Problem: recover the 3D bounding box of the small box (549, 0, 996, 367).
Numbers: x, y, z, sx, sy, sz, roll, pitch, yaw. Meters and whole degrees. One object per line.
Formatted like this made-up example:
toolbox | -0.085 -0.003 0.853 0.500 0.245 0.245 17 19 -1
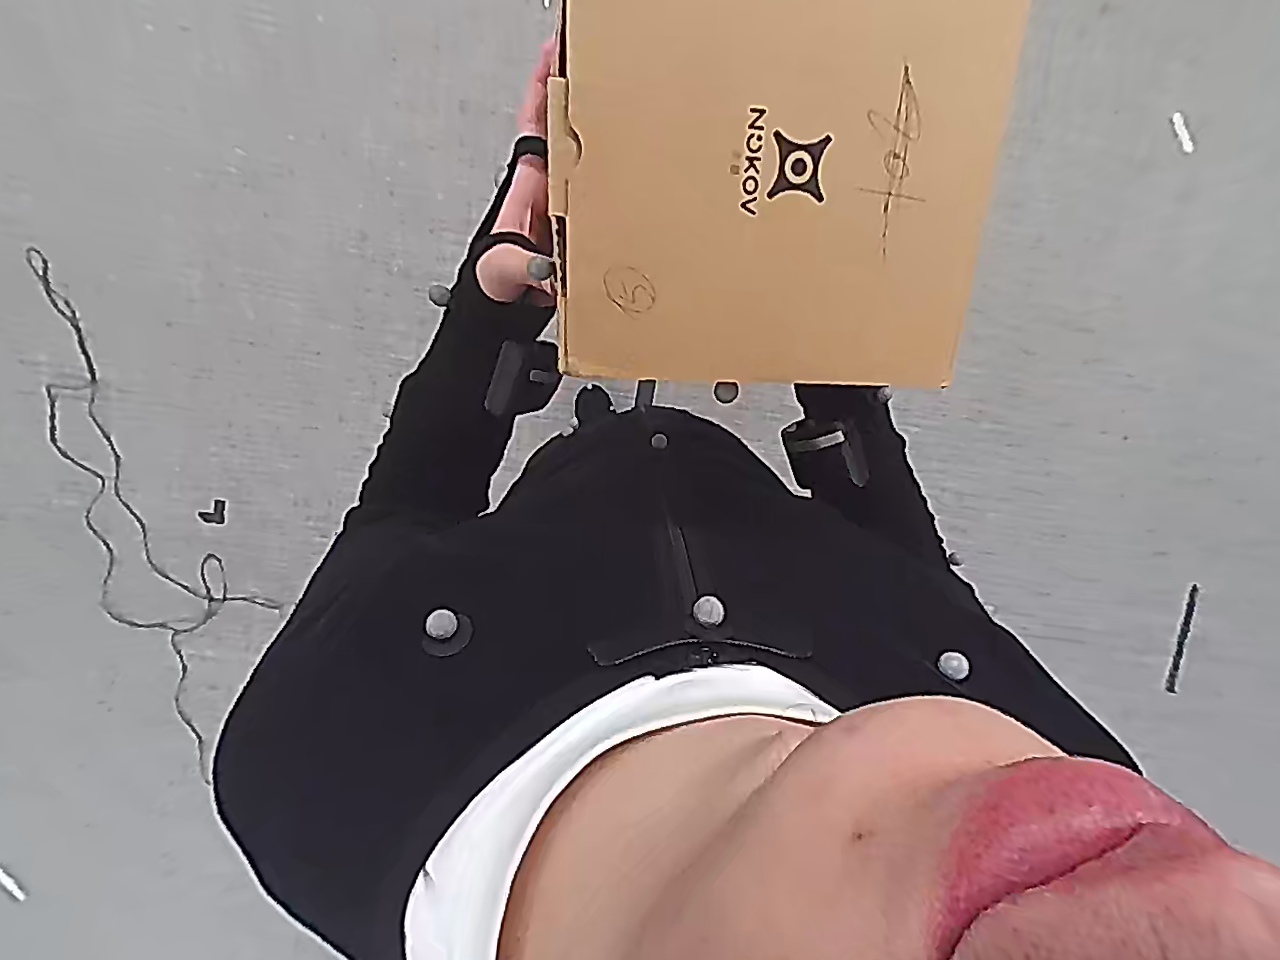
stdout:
small box | 0.041 -0.154 0.295 0.179 0.176 0.168 0 107 -9
